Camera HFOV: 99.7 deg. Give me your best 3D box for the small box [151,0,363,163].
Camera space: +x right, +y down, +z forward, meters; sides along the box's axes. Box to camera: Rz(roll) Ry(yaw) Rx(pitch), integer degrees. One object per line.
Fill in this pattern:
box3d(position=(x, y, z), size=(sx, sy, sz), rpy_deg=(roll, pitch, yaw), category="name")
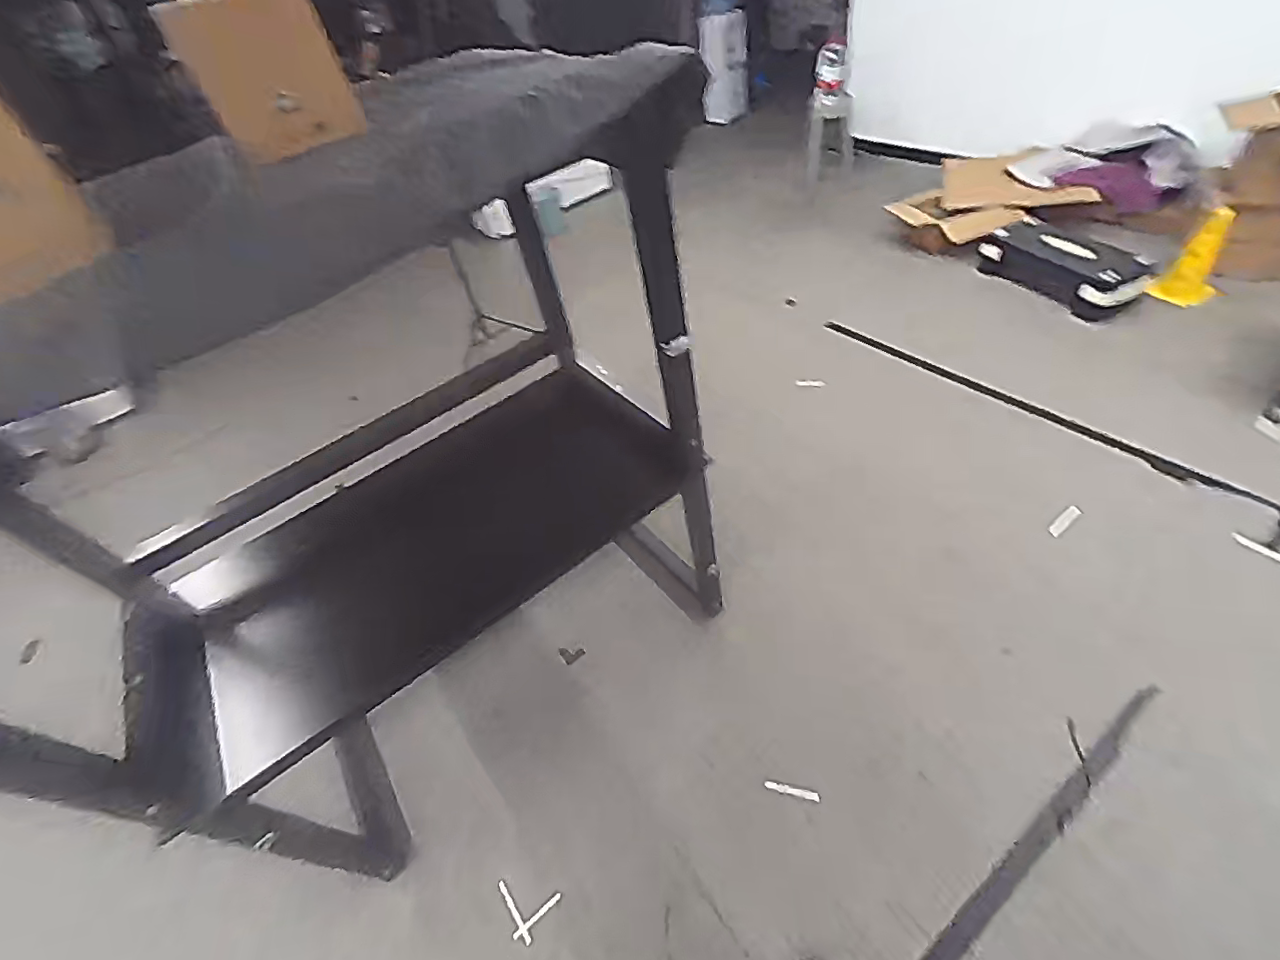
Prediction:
box3d(position=(-0.517, -0.560, 0.744), size=(0.168, 0.176, 0.179), rpy_deg=(-33, 49, -16), category="small box")
